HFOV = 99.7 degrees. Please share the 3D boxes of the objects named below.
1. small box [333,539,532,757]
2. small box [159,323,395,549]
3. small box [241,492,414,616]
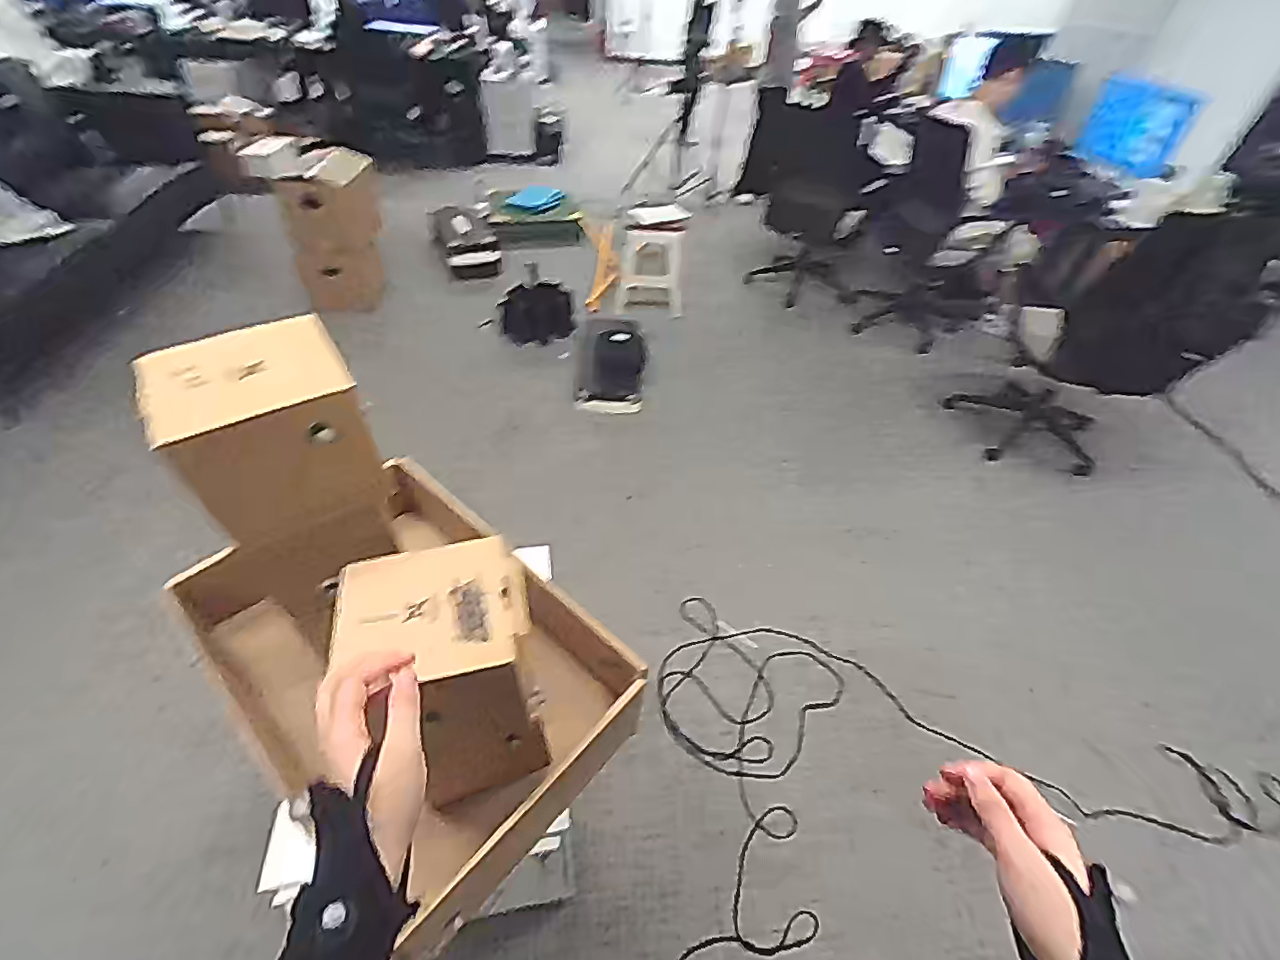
[{"bbox_3d":[-0.225,0.196,0.633,0.179,0.176,0.168,-10,45,-11],"label":"small box"},{"bbox_3d":[-0.410,-0.053,0.637,0.179,0.176,0.168,-26,53,-25],"label":"small box"},{"bbox_3d":[-0.435,0.056,0.760,0.168,0.176,0.179,-23,53,-22],"label":"small box"}]
